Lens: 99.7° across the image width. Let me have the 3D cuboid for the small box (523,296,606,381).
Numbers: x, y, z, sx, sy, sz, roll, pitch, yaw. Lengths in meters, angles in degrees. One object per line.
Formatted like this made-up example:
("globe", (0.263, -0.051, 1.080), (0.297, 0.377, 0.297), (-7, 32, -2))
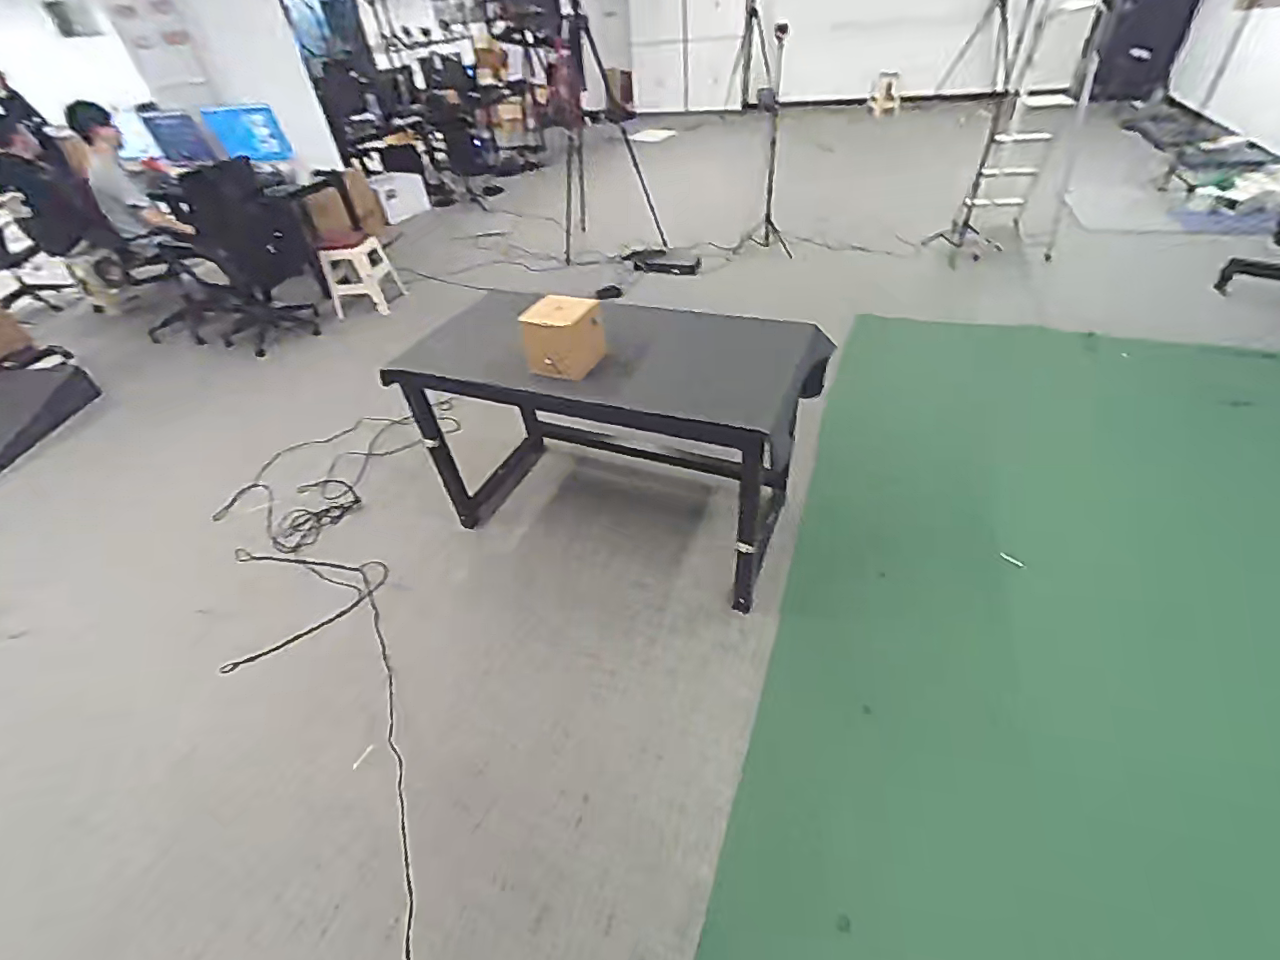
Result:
("small box", (-0.207, -0.407, 1.553), (0.168, 0.176, 0.179), (13, 44, 22))
